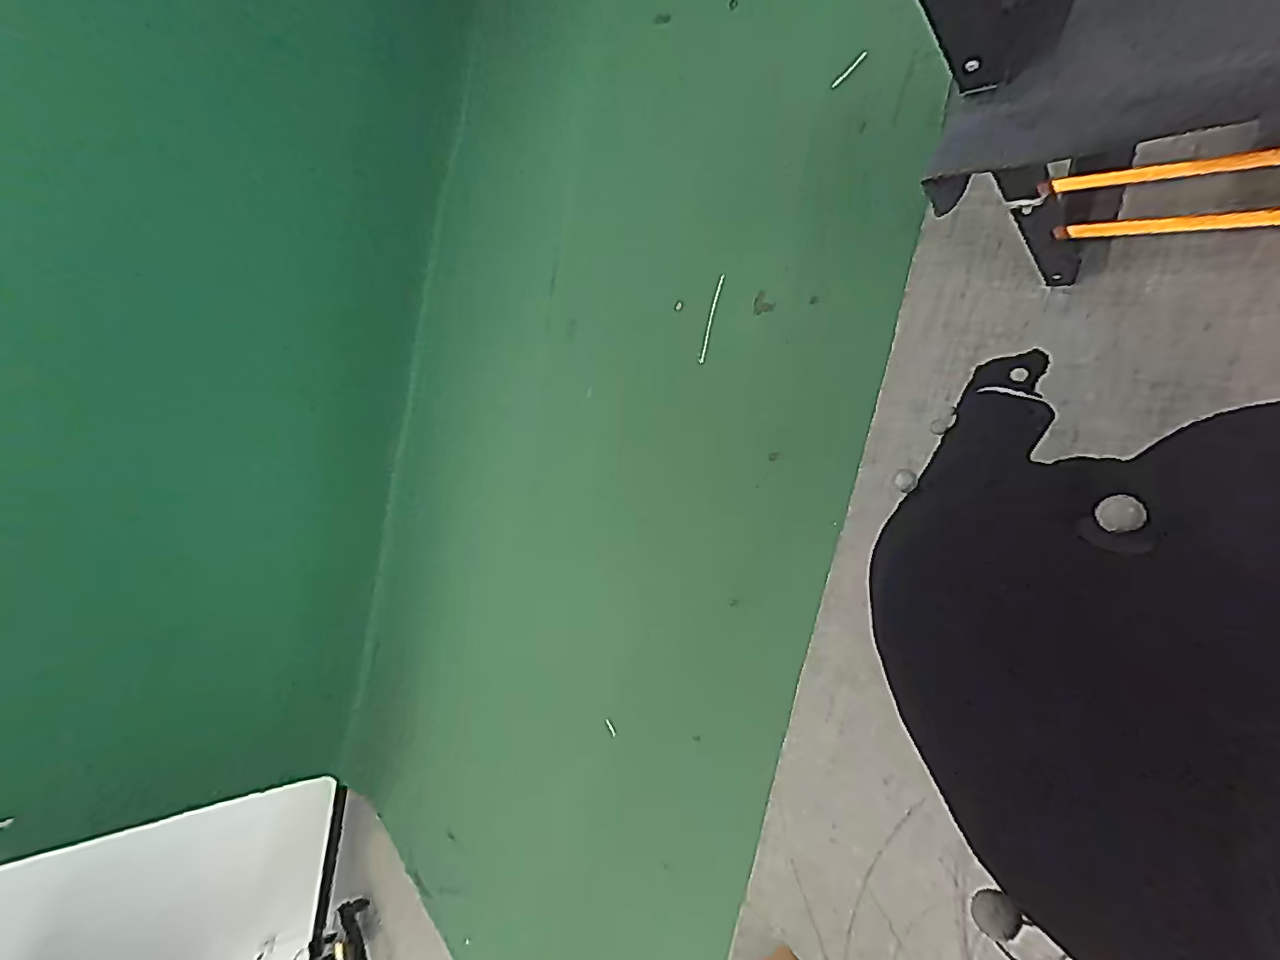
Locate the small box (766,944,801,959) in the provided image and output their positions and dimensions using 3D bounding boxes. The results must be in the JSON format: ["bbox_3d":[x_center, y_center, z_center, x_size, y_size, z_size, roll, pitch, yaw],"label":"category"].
[{"bbox_3d":[0.399,1.443,1.482,0.168,0.176,0.179,19,99,45],"label":"small box"}]
